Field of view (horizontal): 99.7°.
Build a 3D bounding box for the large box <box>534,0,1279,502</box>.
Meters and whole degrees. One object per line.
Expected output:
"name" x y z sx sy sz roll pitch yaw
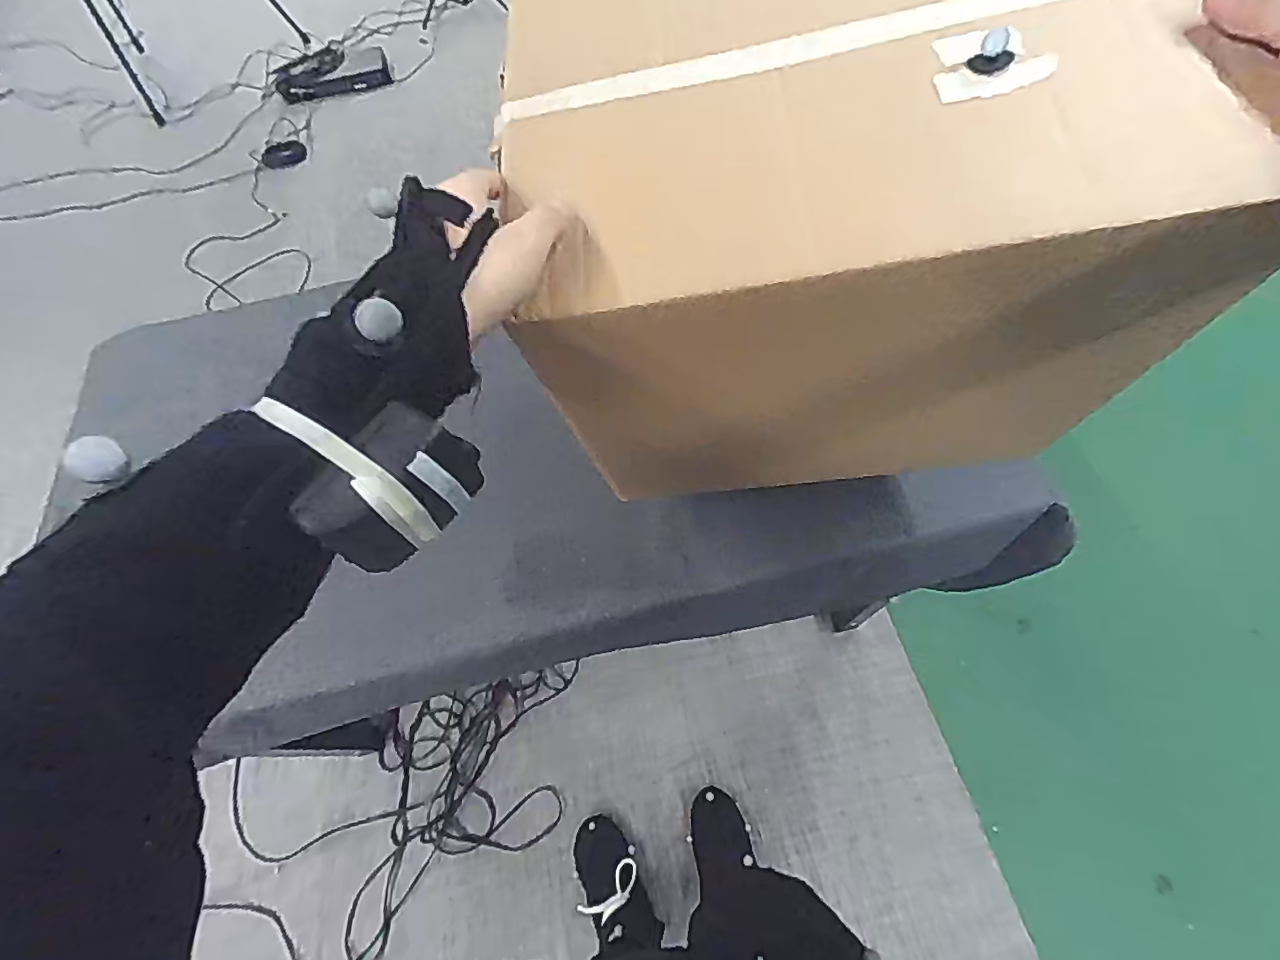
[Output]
"large box" 0.149 -0.191 0.461 0.408 0.320 0.320 -6 69 7
